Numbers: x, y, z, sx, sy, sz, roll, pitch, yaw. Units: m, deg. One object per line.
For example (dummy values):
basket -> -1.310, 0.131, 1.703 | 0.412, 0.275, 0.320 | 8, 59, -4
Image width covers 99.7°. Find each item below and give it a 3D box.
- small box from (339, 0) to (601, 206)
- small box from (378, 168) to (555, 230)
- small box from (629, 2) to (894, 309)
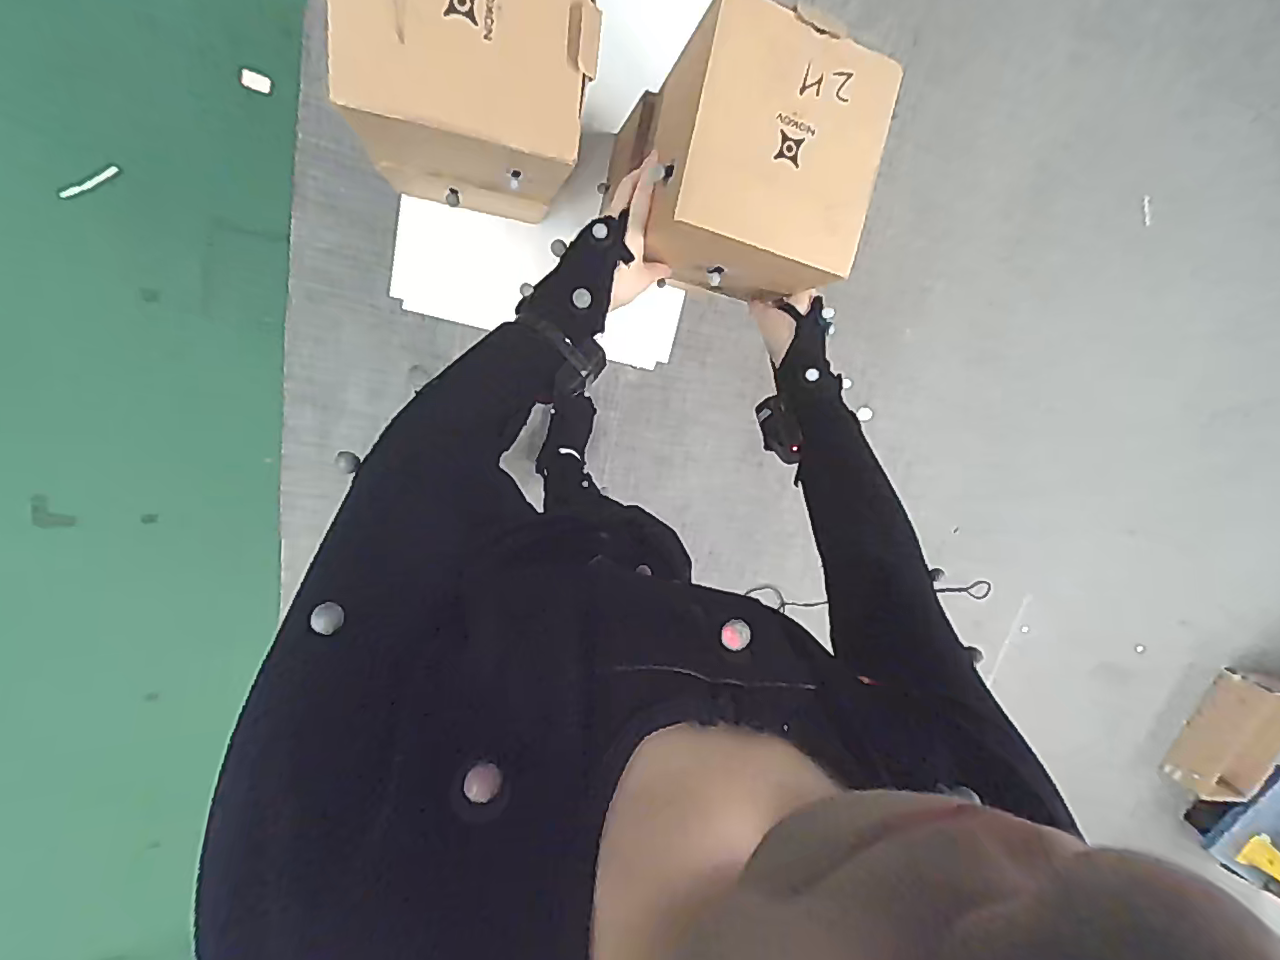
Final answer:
small box -> -0.139, -0.346, 0.458 | 0.179, 0.176, 0.168 | 4, 105, -17
small box -> -0.183, -0.393, 0.609 | 0.179, 0.176, 0.168 | 5, 106, -18
small box -> 0.098, -0.275, 0.515 | 0.168, 0.176, 0.179 | 11, 96, -18
